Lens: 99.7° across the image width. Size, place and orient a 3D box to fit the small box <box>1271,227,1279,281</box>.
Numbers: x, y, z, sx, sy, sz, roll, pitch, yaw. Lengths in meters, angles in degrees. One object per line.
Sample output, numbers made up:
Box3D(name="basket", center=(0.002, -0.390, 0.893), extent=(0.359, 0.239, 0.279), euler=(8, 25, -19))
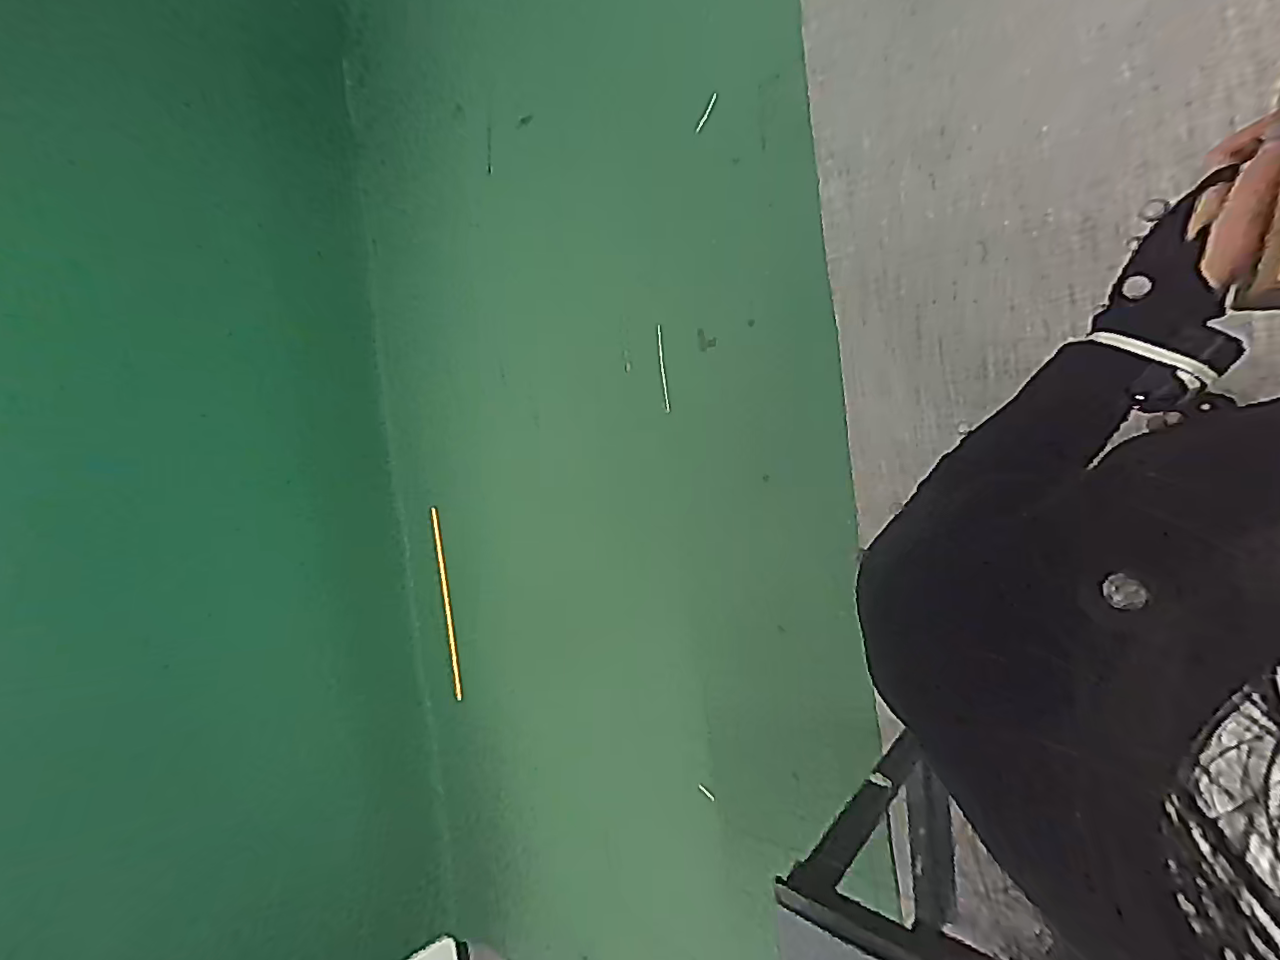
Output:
Box3D(name="small box", center=(0.493, -0.205, 0.291), extent=(0.168, 0.176, 0.179), euler=(12, 106, 40))
